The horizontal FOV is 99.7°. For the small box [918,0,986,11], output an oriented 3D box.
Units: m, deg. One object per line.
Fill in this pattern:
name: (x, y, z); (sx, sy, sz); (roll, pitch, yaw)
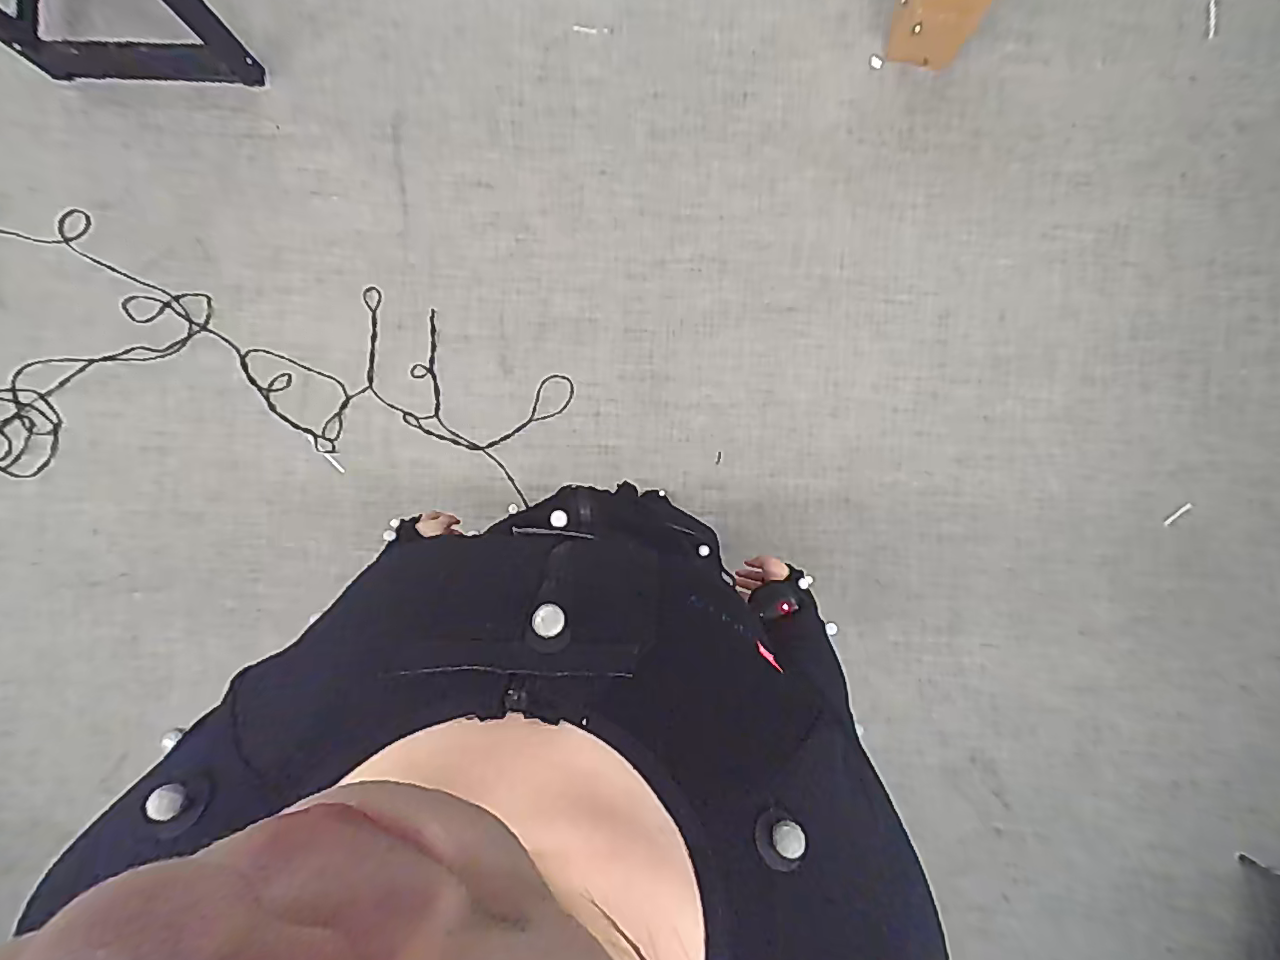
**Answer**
small box: (0.784, -1.260, 1.271); (0.179, 0.176, 0.168); (10, 91, 0)
